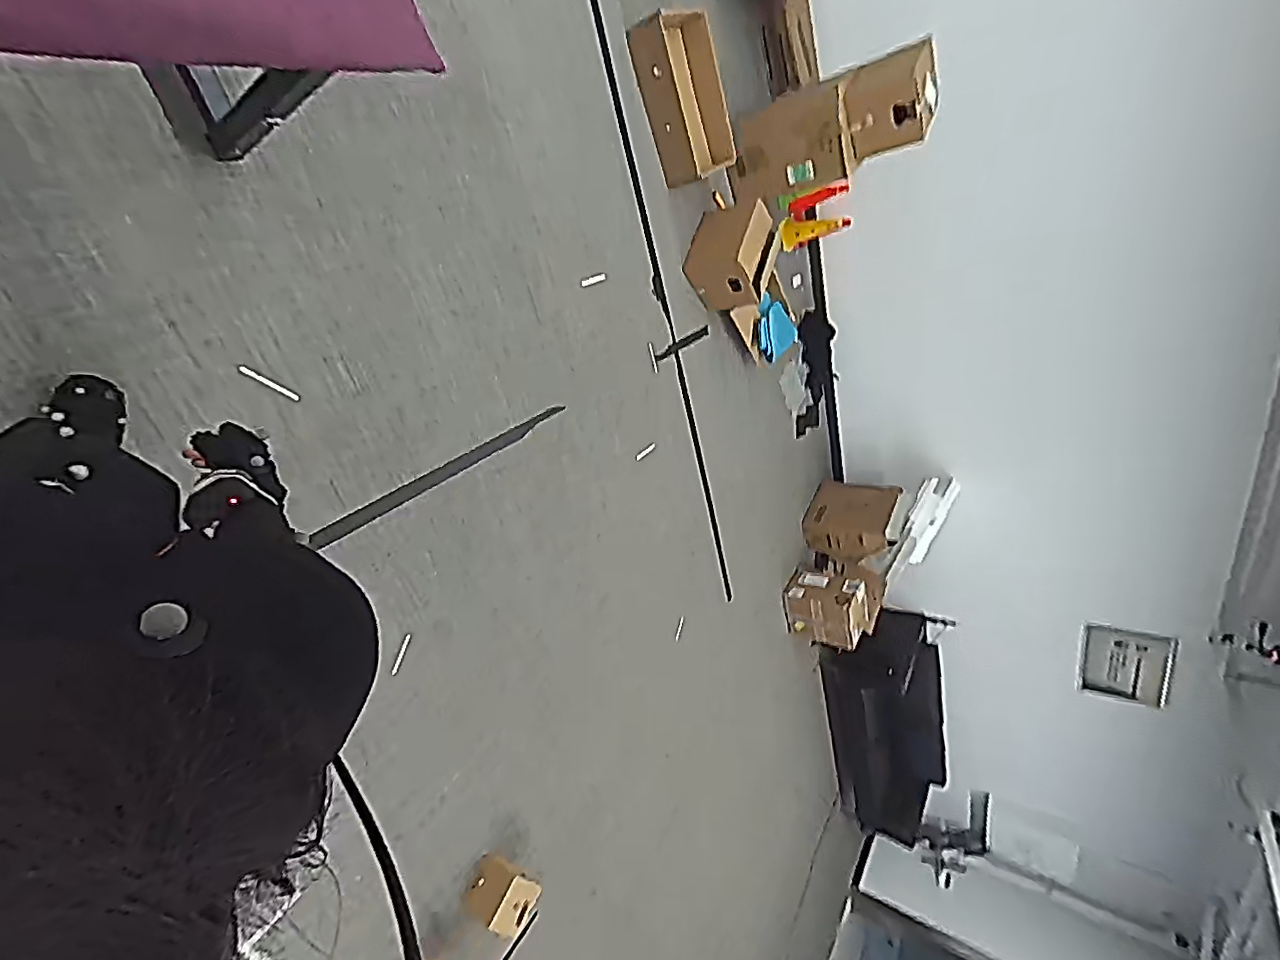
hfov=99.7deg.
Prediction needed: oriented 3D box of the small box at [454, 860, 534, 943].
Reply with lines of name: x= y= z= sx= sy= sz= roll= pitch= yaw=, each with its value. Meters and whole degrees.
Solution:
small box: x=-0.517 y=1.487 z=1.914 sx=0.168 sy=0.176 sz=0.179 roll=-59 pitch=135 yaw=-31

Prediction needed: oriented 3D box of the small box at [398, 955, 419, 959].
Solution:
small box: x=-0.711 y=1.640 z=1.680 sx=0.179 sy=0.176 sz=0.168 roll=-58 pitch=136 yaw=-32
